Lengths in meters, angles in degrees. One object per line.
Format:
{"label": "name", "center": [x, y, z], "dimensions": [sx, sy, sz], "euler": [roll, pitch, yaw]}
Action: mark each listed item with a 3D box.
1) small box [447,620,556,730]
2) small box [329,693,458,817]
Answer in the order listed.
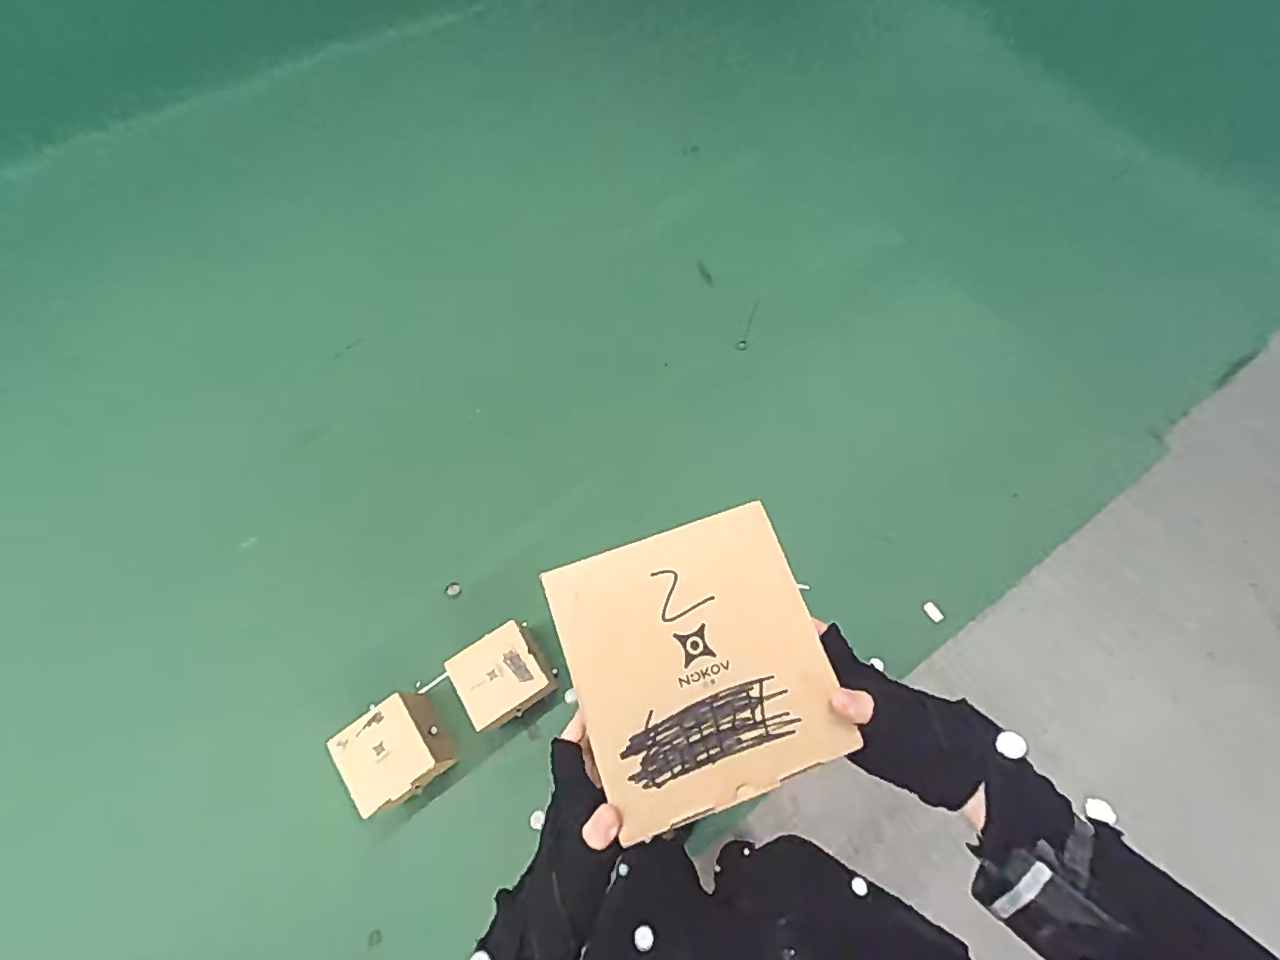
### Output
{"label": "small box", "center": [-0.306, 0.443, 1.236], "dimensions": [0.179, 0.176, 0.168], "euler": [-31, 71, -11]}
{"label": "small box", "center": [-0.526, 0.584, 1.178], "dimensions": [0.168, 0.176, 0.179], "euler": [-34, 73, -13]}
